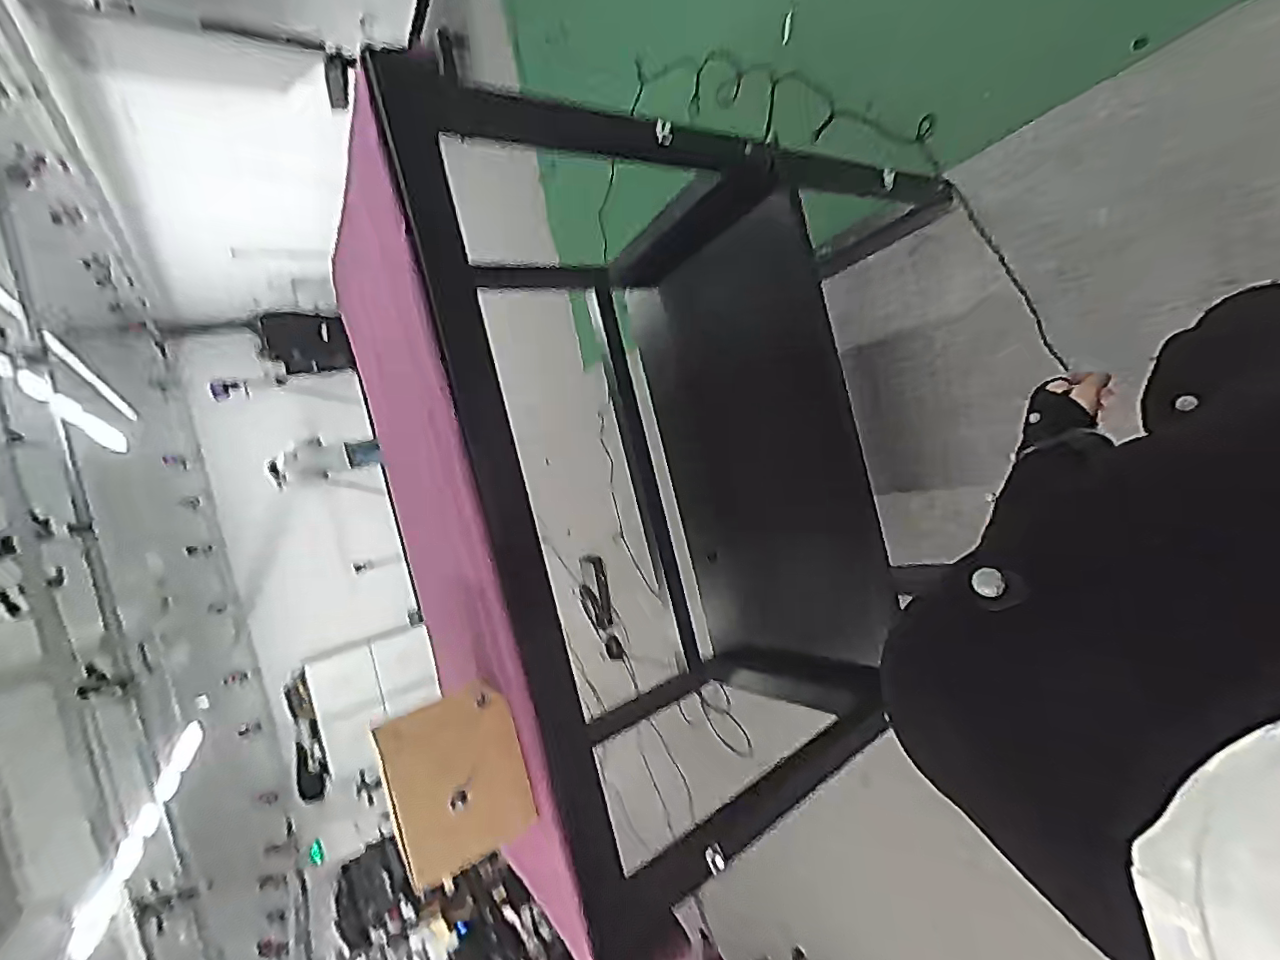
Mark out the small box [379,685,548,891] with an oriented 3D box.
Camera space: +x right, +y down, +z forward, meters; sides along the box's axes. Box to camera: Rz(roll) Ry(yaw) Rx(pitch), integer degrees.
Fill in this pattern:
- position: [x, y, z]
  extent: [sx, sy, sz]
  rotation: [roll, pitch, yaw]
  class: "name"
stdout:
- position: [-0.254, 0.417, 0.774]
  extent: [0.168, 0.176, 0.179]
  rotation: [-18, 88, 58]
  class: "small box"
